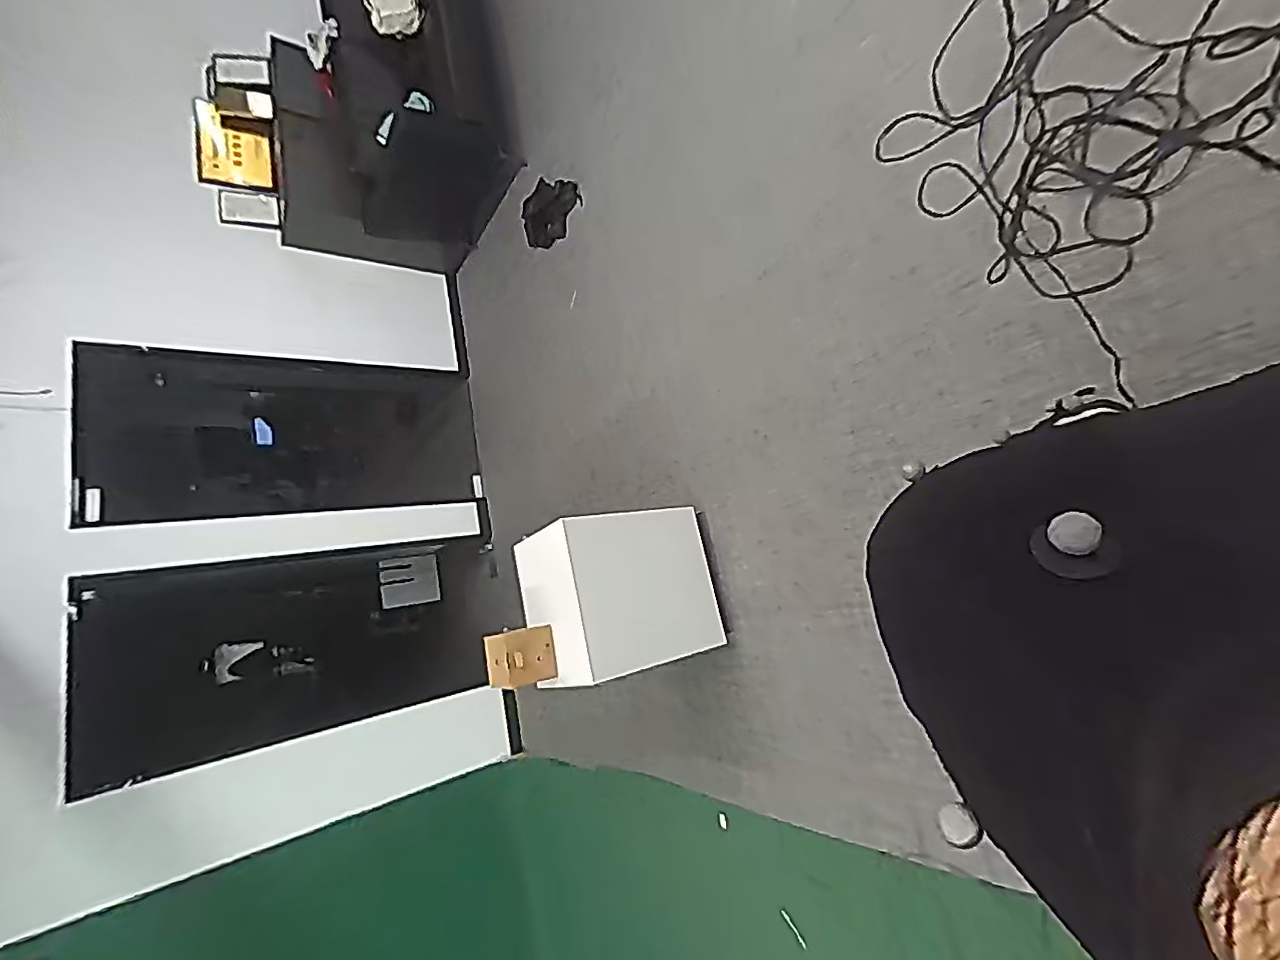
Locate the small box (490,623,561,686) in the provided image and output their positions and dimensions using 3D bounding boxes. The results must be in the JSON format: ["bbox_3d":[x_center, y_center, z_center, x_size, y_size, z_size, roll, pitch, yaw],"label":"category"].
[{"bbox_3d":[-0.377,0.569,1.774,0.179,0.176,0.168,-25,71,50],"label":"small box"}]
